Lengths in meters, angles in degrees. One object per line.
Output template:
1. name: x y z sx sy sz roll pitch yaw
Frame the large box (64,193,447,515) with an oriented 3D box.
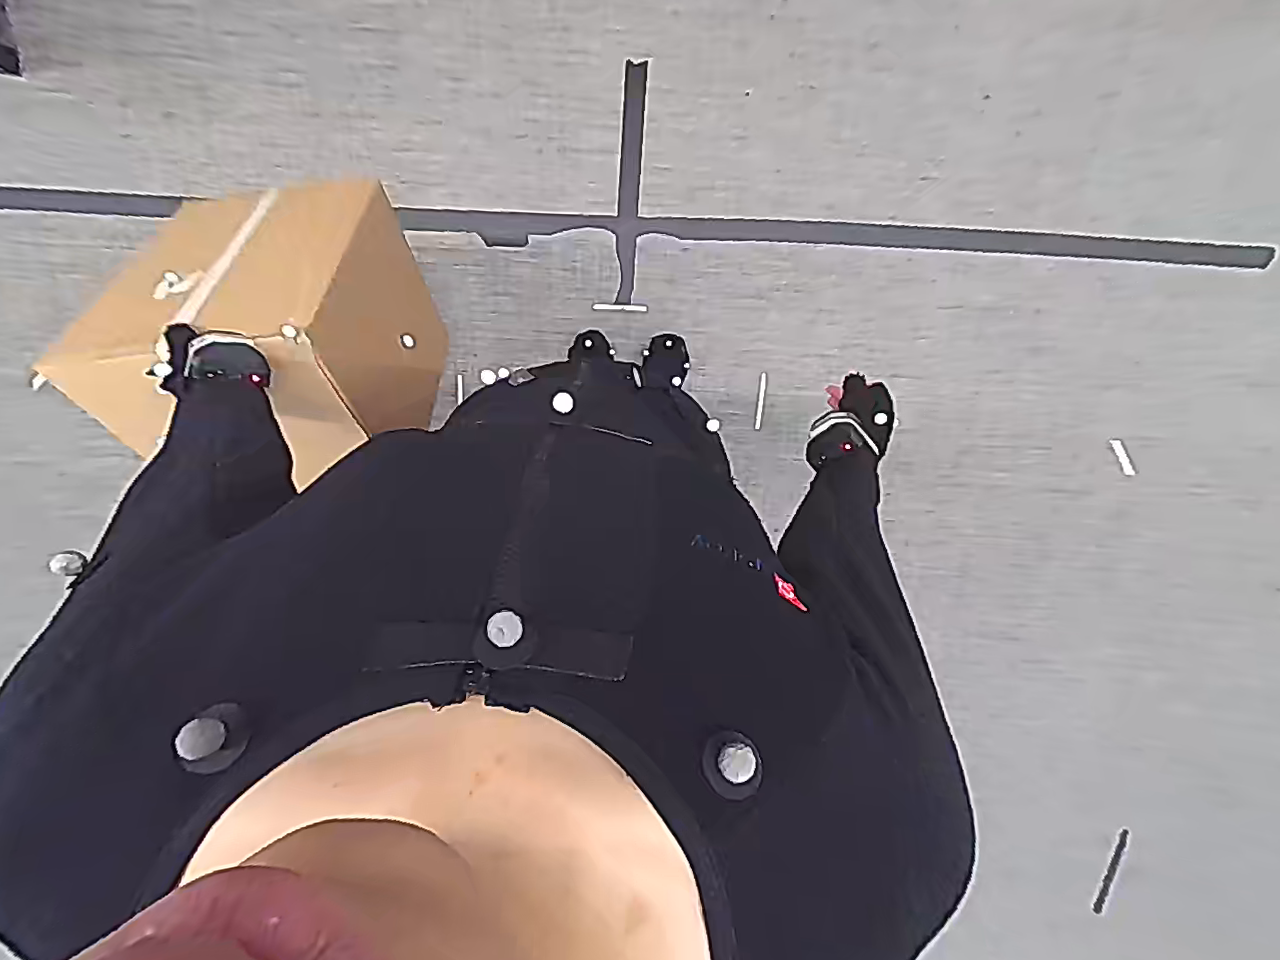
1. large box: -0.534 -0.203 0.871 0.320 0.408 0.320 -7 141 2
